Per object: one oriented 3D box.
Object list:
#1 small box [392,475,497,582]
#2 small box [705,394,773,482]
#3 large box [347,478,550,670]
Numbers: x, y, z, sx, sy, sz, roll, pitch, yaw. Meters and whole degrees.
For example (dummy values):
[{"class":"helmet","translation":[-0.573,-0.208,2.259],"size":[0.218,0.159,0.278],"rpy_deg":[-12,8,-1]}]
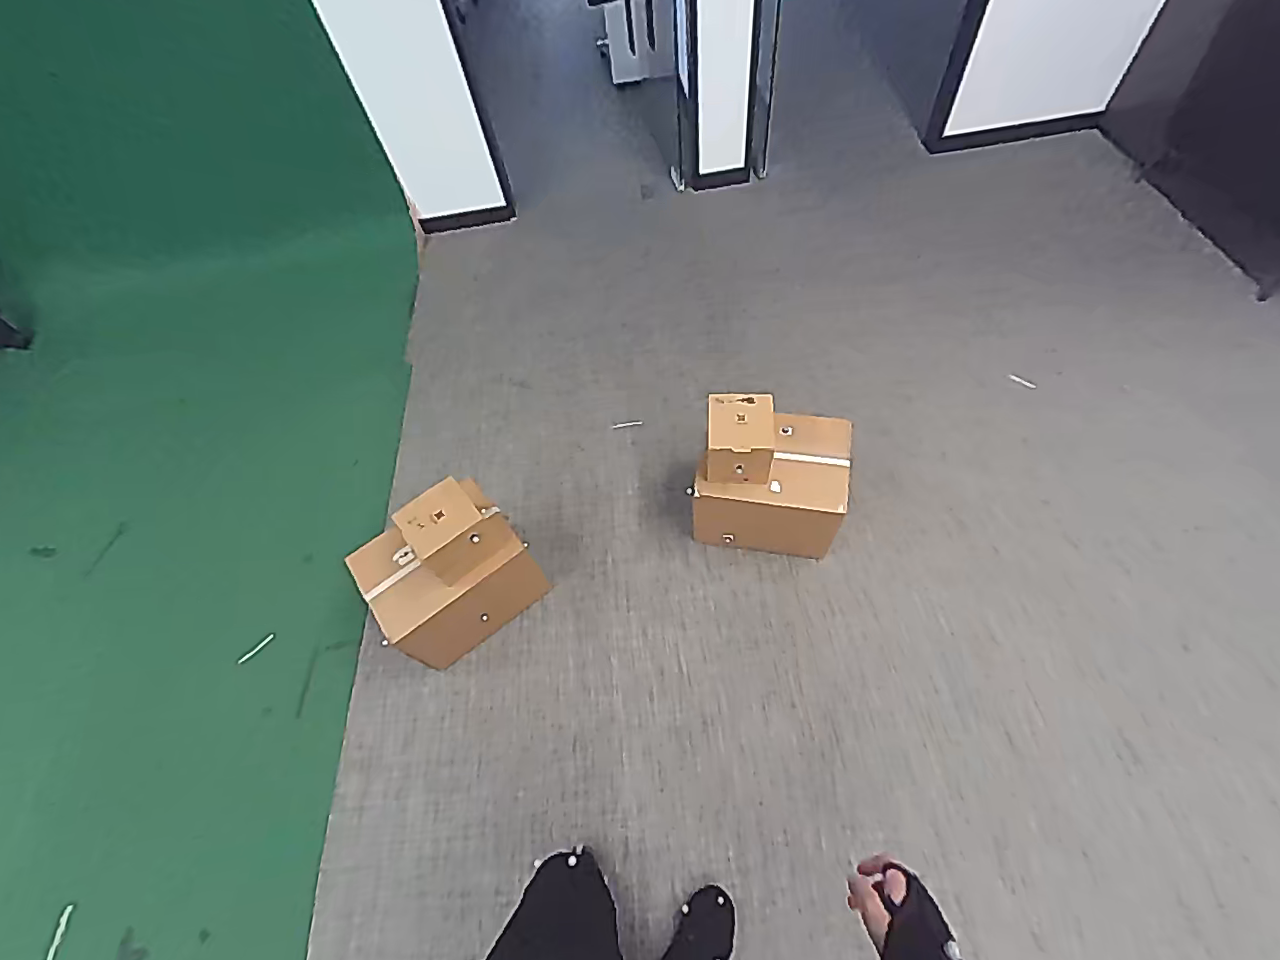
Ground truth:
[{"class":"small box","translation":[-0.484,0.126,1.372],"size":[0.179,0.176,0.168],"rpy_deg":[-37,62,-15]},{"class":"small box","translation":[0.260,-0.107,1.434],"size":[0.168,0.176,0.179],"rpy_deg":[2,60,7]},{"class":"large box","translation":[-0.536,0.277,1.577],"size":[0.408,0.320,0.320],"rpy_deg":[-37,60,-15]}]
